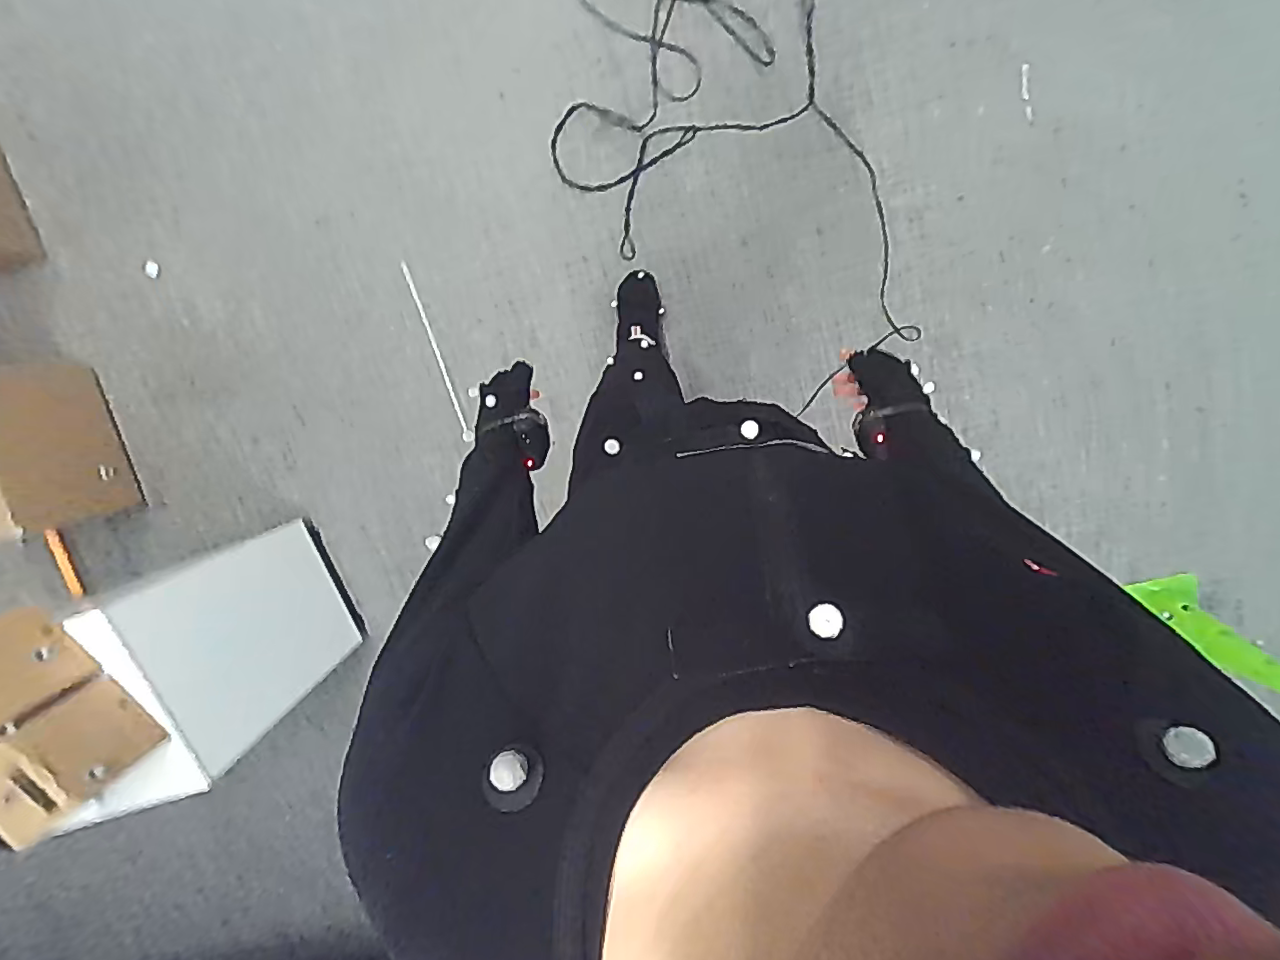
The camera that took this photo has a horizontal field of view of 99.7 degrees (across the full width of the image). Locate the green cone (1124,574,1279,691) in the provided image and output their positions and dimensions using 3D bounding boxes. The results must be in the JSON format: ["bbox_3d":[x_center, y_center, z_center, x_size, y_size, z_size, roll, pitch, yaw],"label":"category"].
[{"bbox_3d":[1.408,0.399,1.292,0.202,0.368,0.200,-15,102,7],"label":"green cone"}]
